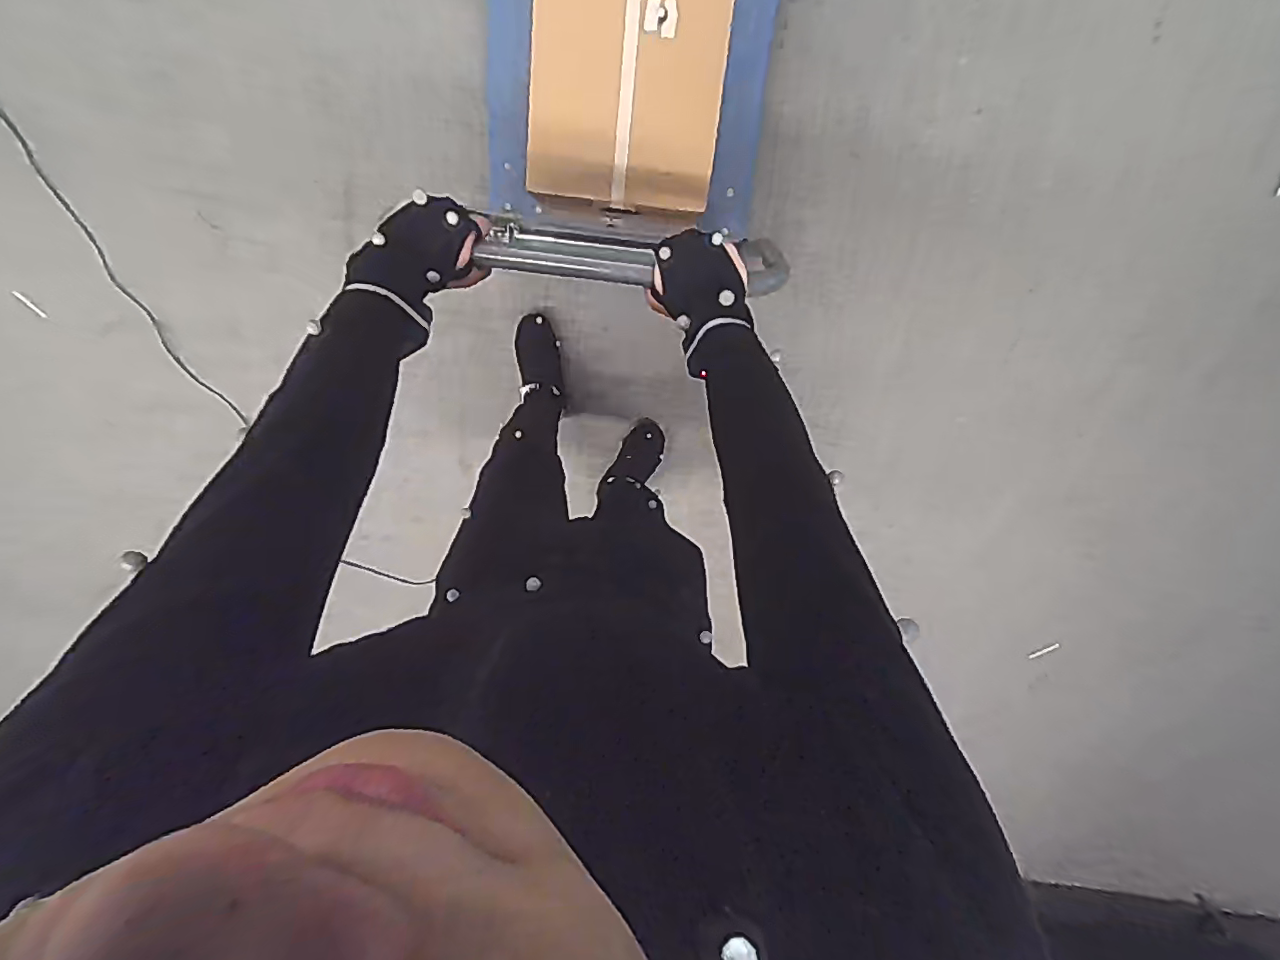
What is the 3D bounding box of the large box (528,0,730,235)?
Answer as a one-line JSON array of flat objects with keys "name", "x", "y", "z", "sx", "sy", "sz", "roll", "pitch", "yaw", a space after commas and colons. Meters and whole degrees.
[{"name": "large box", "x": -0.020, "y": -0.709, "z": 1.020, "sx": 0.320, "sy": 0.320, "sz": 0.408, "roll": 6, "pitch": 107, "yaw": -2}]
